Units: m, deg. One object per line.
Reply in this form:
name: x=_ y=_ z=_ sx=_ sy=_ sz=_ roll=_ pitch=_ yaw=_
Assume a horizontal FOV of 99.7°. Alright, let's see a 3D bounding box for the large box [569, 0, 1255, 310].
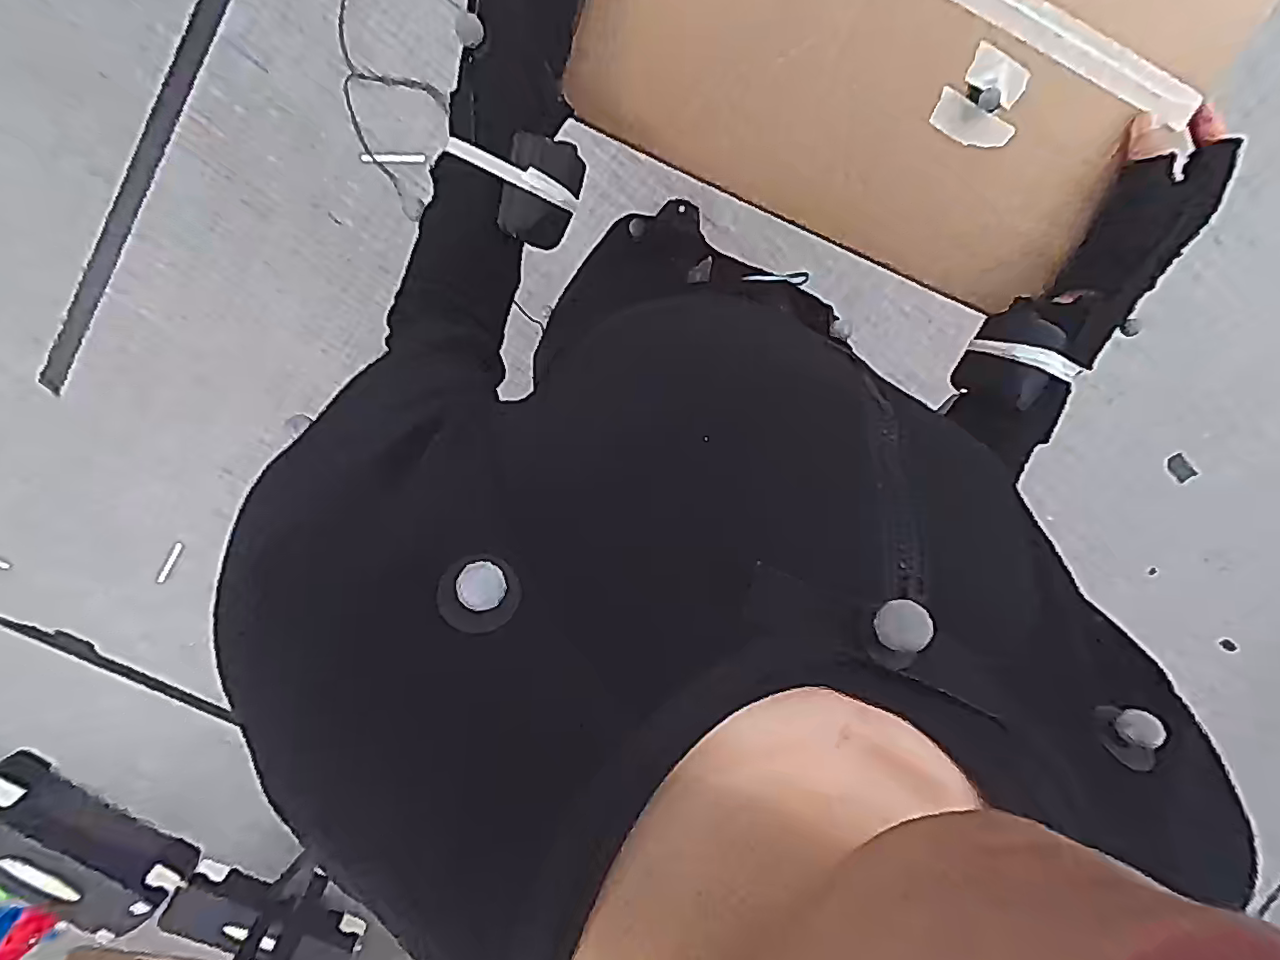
large box: x=0.186 y=-0.403 z=0.469 sx=0.408 sy=0.320 sz=0.320 roll=20 pitch=122 yaw=-12
